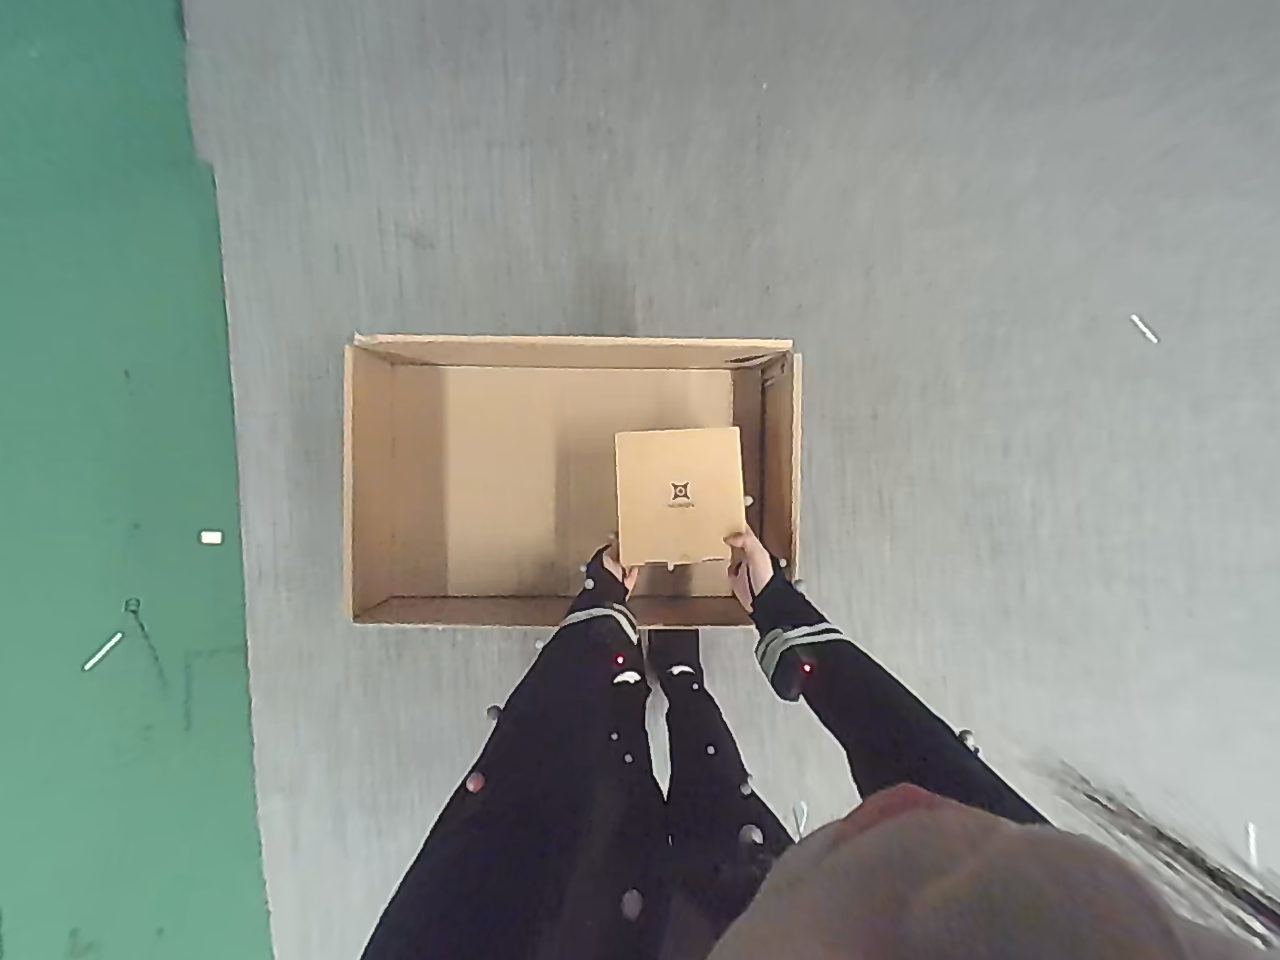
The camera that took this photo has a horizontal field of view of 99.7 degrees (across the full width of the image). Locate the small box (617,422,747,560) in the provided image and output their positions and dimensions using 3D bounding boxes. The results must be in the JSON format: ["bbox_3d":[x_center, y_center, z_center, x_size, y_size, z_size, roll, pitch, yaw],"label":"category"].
[{"bbox_3d":[0.052,0.021,0.776,0.168,0.176,0.179,-3,85,0],"label":"small box"}]
